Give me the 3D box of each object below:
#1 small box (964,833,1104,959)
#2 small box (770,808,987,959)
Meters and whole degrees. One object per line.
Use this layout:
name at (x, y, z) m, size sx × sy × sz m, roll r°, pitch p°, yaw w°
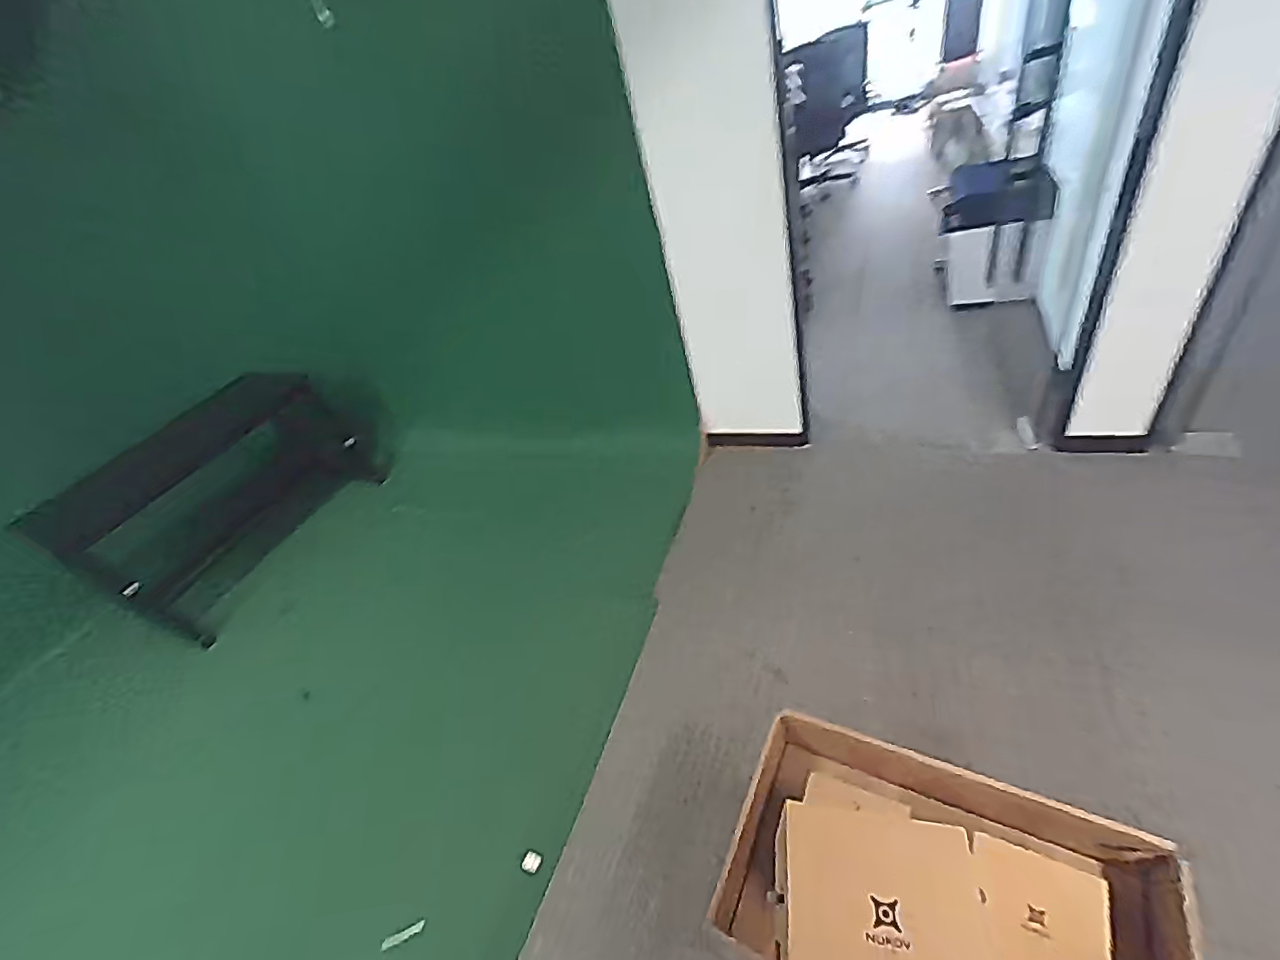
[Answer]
small box at (0.573, 0.685, 0.819) m, size 0.168 × 0.176 × 0.179 m, roll 10°, pitch 49°, yaw 29°
small box at (0.216, 0.451, 0.524) m, size 0.168 × 0.176 × 0.179 m, roll 3°, pitch 46°, yaw 11°
